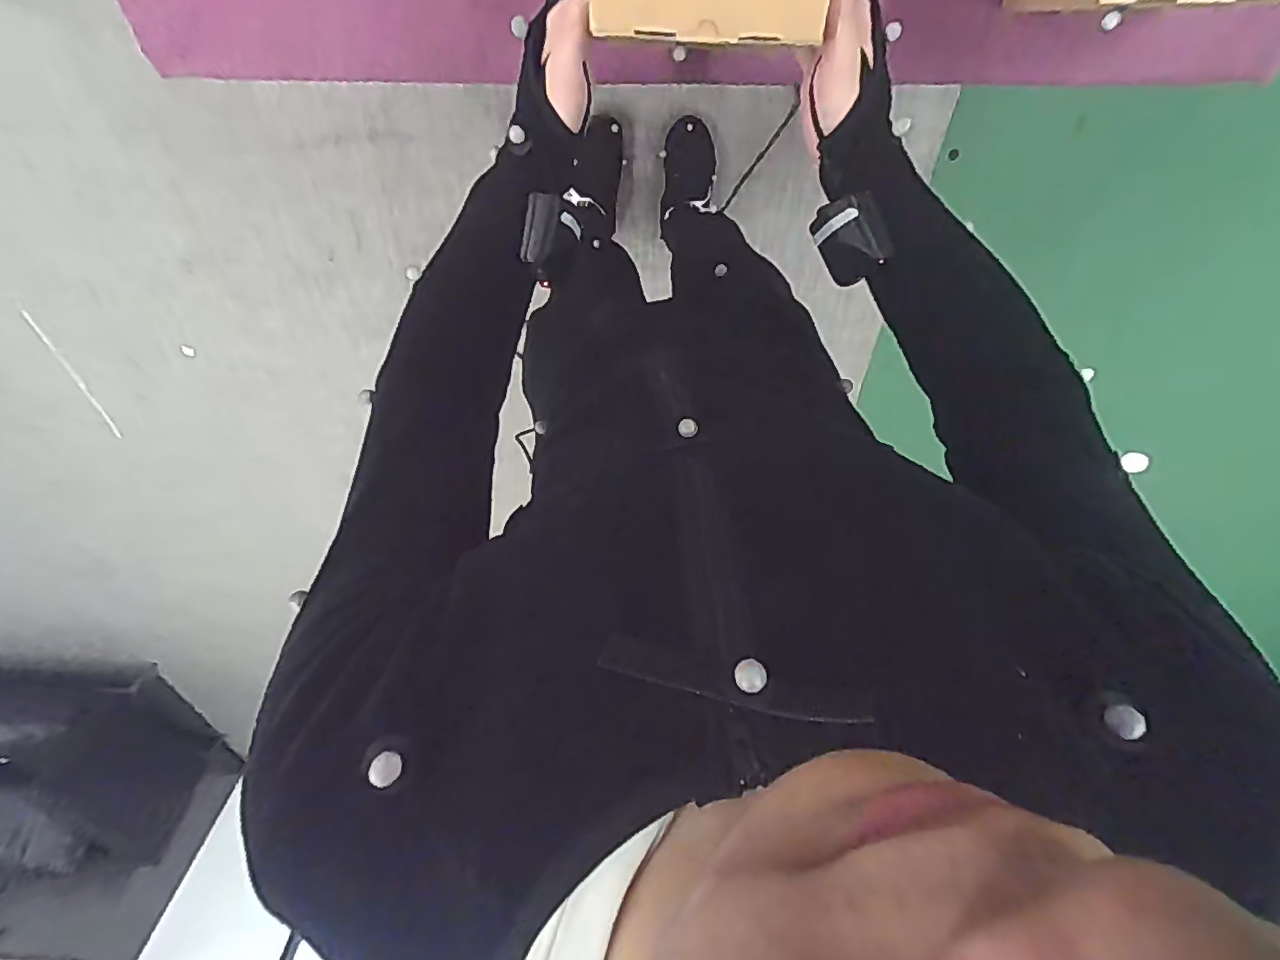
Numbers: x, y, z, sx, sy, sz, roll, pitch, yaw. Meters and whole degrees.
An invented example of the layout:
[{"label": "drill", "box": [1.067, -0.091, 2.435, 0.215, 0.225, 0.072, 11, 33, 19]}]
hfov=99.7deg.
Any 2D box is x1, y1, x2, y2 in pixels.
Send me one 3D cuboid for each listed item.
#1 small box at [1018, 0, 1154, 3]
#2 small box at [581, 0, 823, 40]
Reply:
[{"label": "small box", "box": [0.430, -0.485, 0.412, 0.168, 0.176, 0.179, 2, 130, 4]}, {"label": "small box", "box": [0.044, -0.428, 0.380, 0.168, 0.176, 0.179, 1, 129, -1]}]
